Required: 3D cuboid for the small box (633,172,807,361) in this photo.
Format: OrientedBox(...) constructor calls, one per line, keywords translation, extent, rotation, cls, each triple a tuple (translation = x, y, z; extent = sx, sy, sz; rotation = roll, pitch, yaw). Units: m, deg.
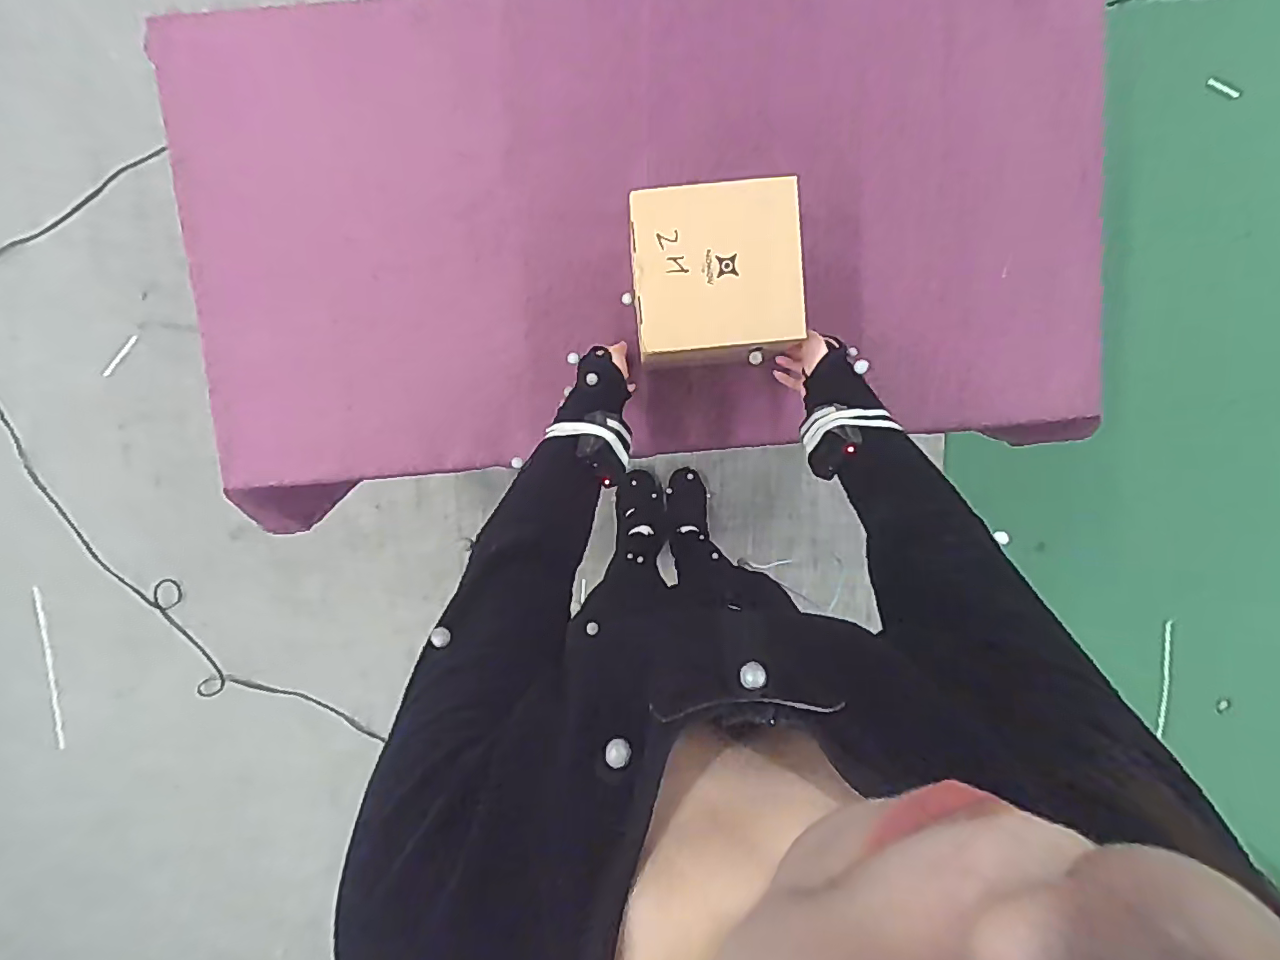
OrientedBox(translation=(0.085, -0.238, 0.644), extent=(0.179, 0.176, 0.168), rotation=(-5, 96, 2), cls="small box")
